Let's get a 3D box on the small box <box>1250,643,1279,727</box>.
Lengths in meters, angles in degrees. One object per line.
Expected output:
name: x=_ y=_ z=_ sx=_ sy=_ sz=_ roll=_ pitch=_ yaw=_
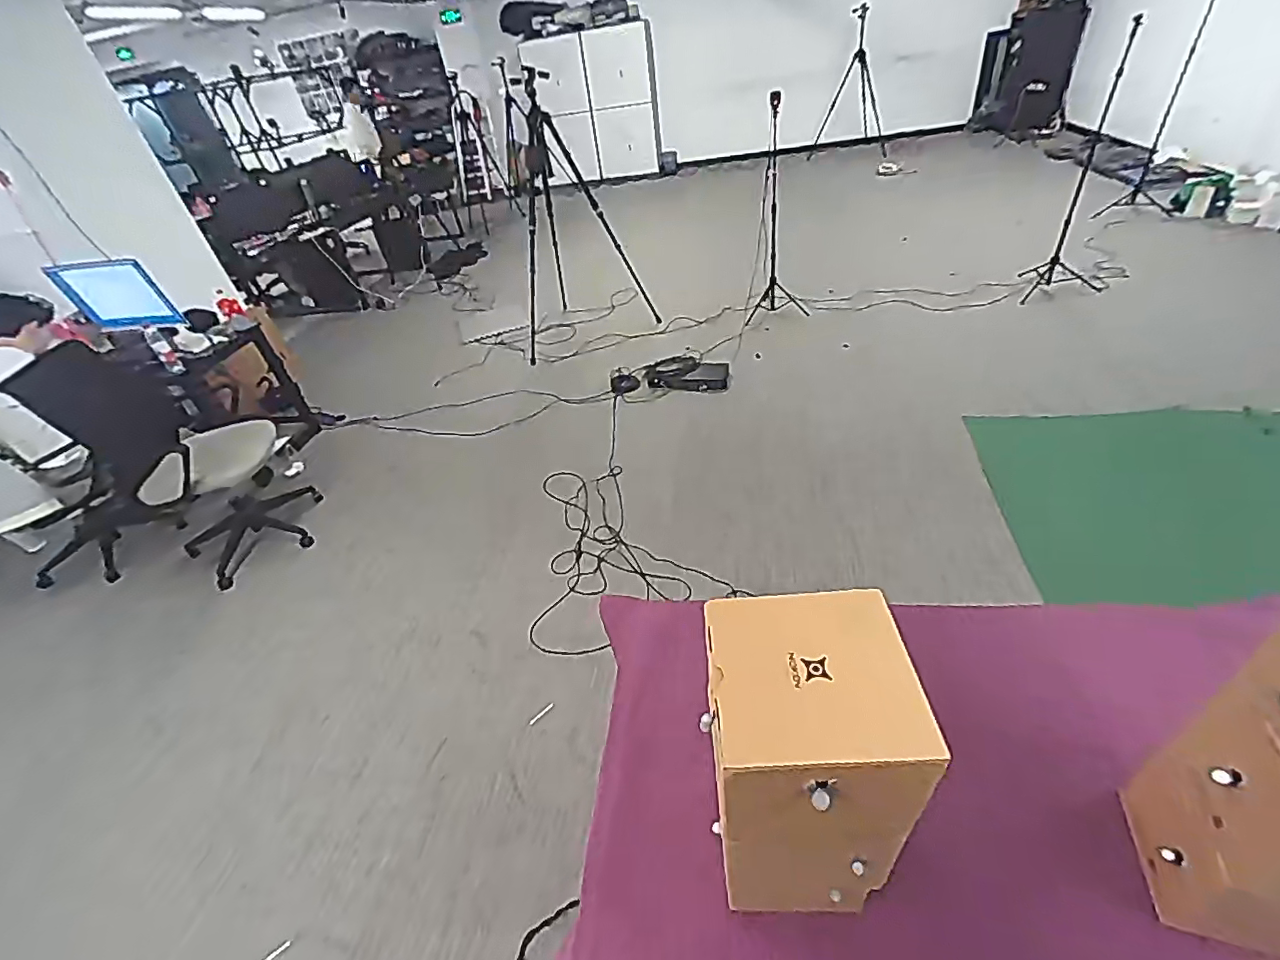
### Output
small box: x=0.699 y=0.195 z=0.449 sx=0.179 sy=0.176 sz=0.168 roll=3 pitch=41 yaw=16

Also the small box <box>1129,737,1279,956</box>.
small box: x=0.743 y=0.447 z=0.654 sx=0.179 sy=0.176 sz=0.168 roll=6 pitch=42 yaw=19

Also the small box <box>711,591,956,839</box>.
small box: x=0.164 y=0.229 z=0.525 sx=0.179 sy=0.176 sz=0.168 roll=-6 pitch=40 yaw=5

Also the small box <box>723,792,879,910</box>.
small box: x=0.206 y=0.468 z=0.744 sx=0.179 sy=0.176 sz=0.168 roll=-5 pitch=39 yaw=7
